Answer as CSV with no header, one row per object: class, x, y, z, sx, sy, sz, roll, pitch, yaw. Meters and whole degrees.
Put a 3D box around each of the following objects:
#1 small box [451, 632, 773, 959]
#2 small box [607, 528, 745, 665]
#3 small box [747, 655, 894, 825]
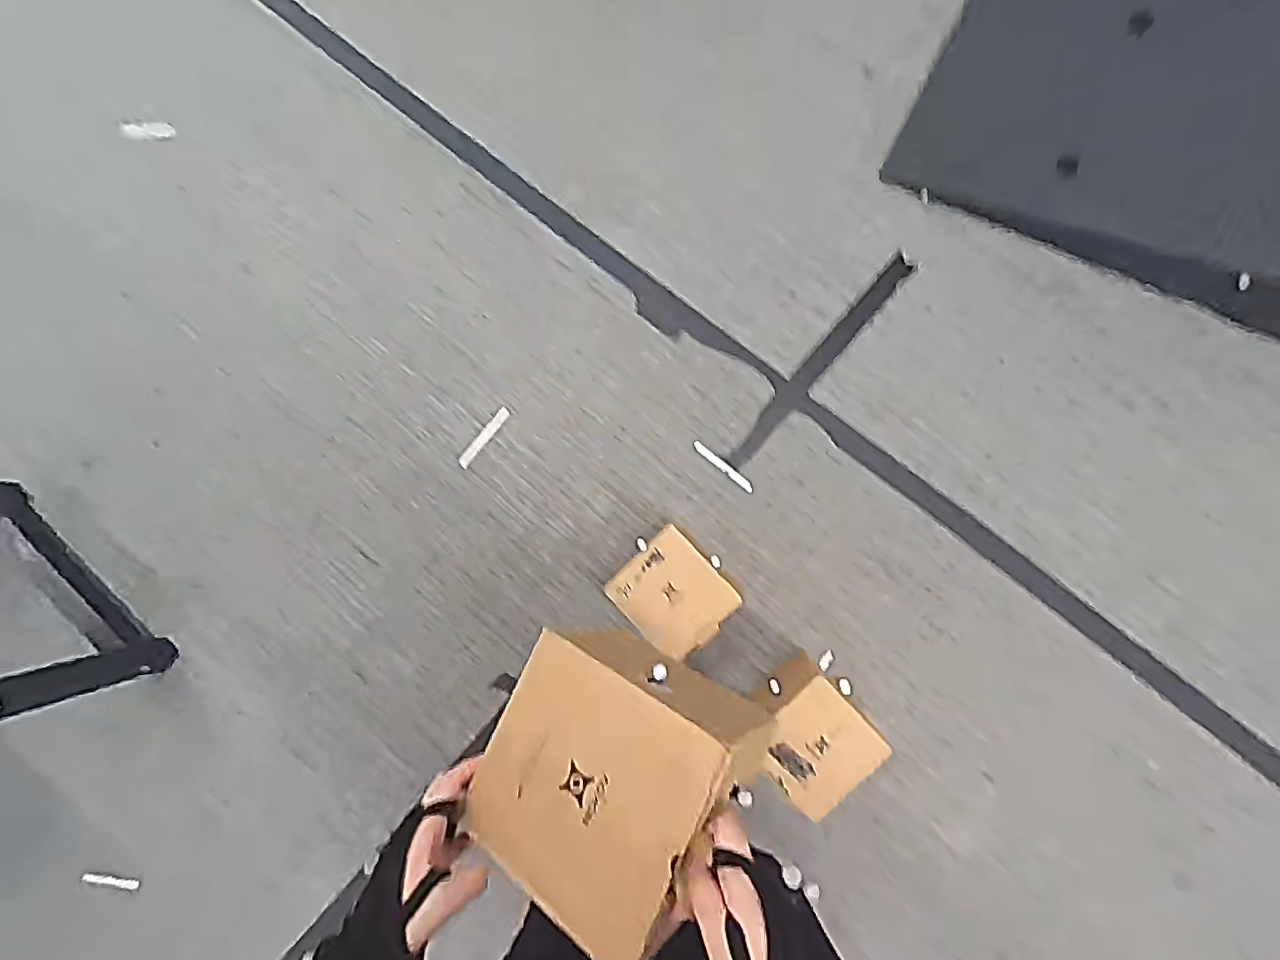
small box,-0.009,0.240,0.448,0.179,0.176,0.168,23,84,29
small box,0.067,0.201,0.979,0.168,0.176,0.179,-43,85,2
small box,0.296,0.440,0.944,0.179,0.176,0.168,-43,84,2
